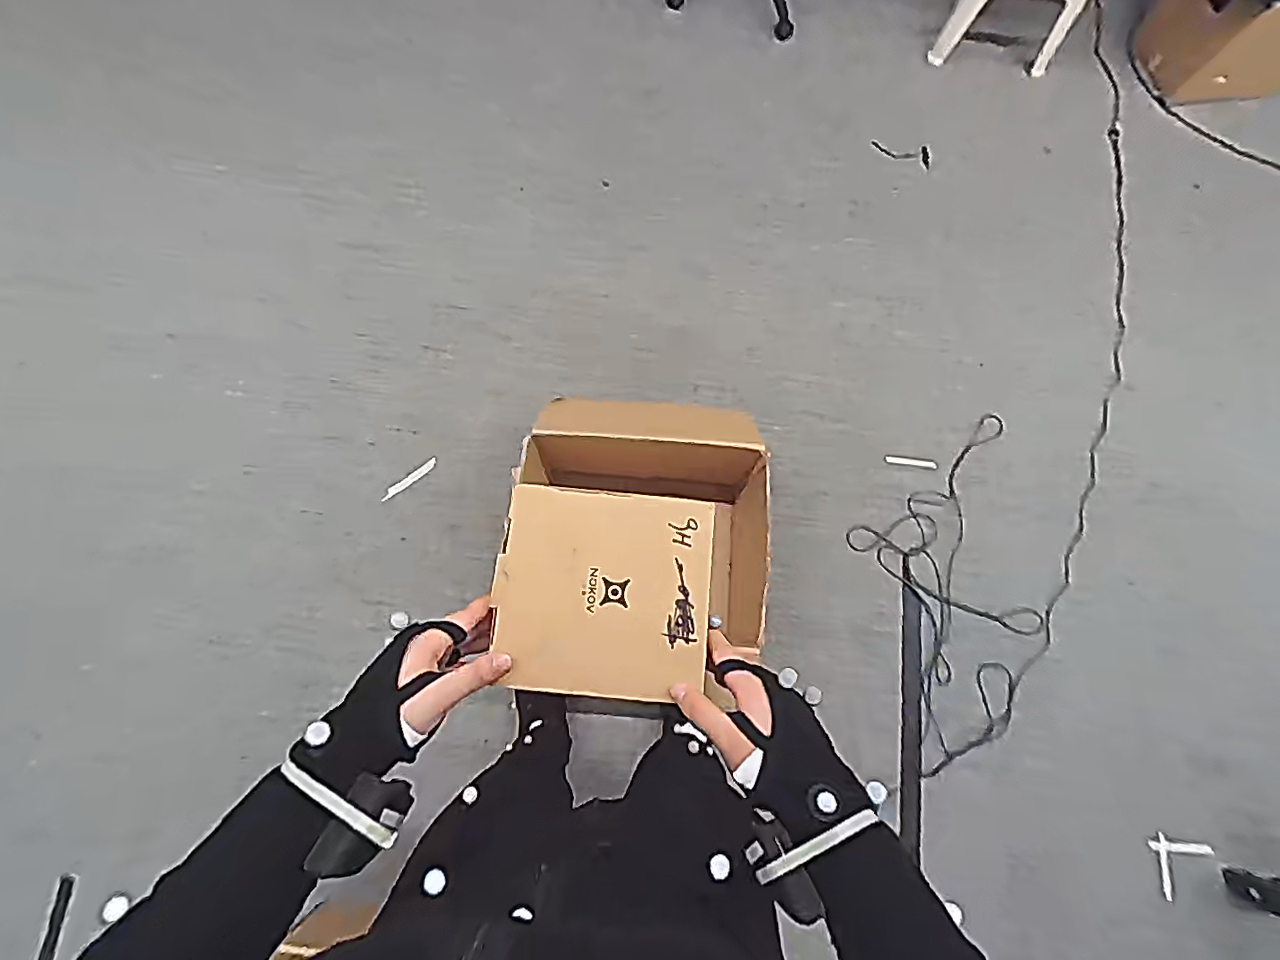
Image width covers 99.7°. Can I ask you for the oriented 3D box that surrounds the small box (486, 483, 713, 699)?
[{"bbox_3d":[-0.032,0.109,0.532,0.179,0.176,0.168,6,76,0],"label":"small box"}]
